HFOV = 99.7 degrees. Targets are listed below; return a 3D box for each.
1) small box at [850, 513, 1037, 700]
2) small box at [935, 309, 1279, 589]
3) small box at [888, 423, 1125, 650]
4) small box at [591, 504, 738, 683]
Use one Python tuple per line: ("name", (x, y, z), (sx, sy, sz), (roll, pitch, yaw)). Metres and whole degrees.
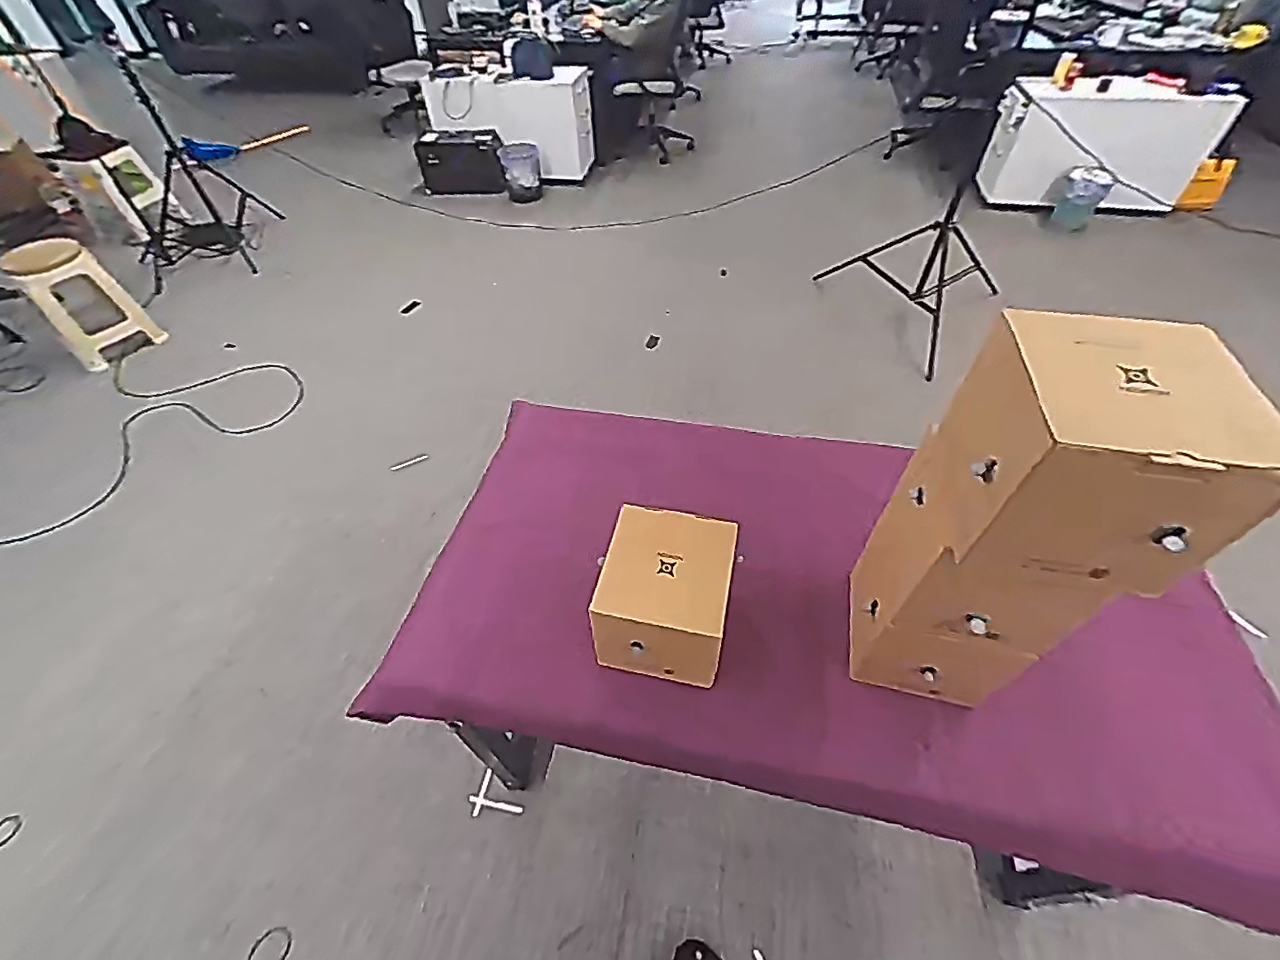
("small box", (0.394, 0.175, 0.737), (0.168, 0.176, 0.179), (11, 50, 10))
("small box", (0.387, -0.025, 0.479), (0.168, 0.176, 0.179), (8, 49, 8))
("small box", (0.394, 0.065, 0.615), (0.168, 0.176, 0.179), (10, 51, 11))
("small box", (0.040, 0.162, 0.761), (0.168, 0.176, 0.179), (9, 48, 9))
